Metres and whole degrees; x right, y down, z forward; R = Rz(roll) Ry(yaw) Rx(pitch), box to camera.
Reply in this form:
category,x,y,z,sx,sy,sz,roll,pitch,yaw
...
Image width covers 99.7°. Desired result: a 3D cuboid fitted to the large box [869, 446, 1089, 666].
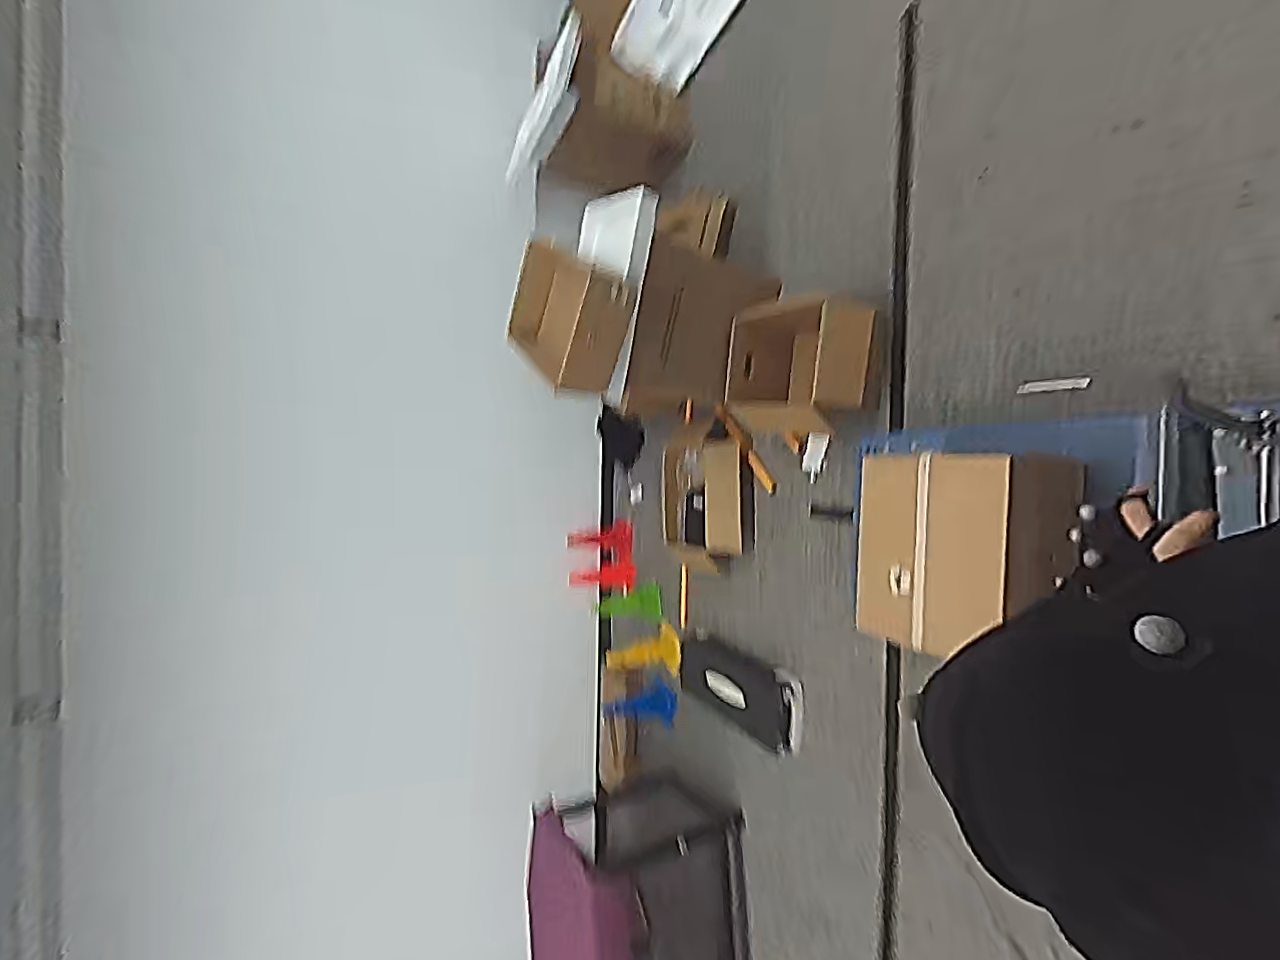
category,x,y,z,sx,sy,sz,roll,pitch,yaw
large box,0.730,0.135,1.177,0.320,0.320,0.408,3,93,60
